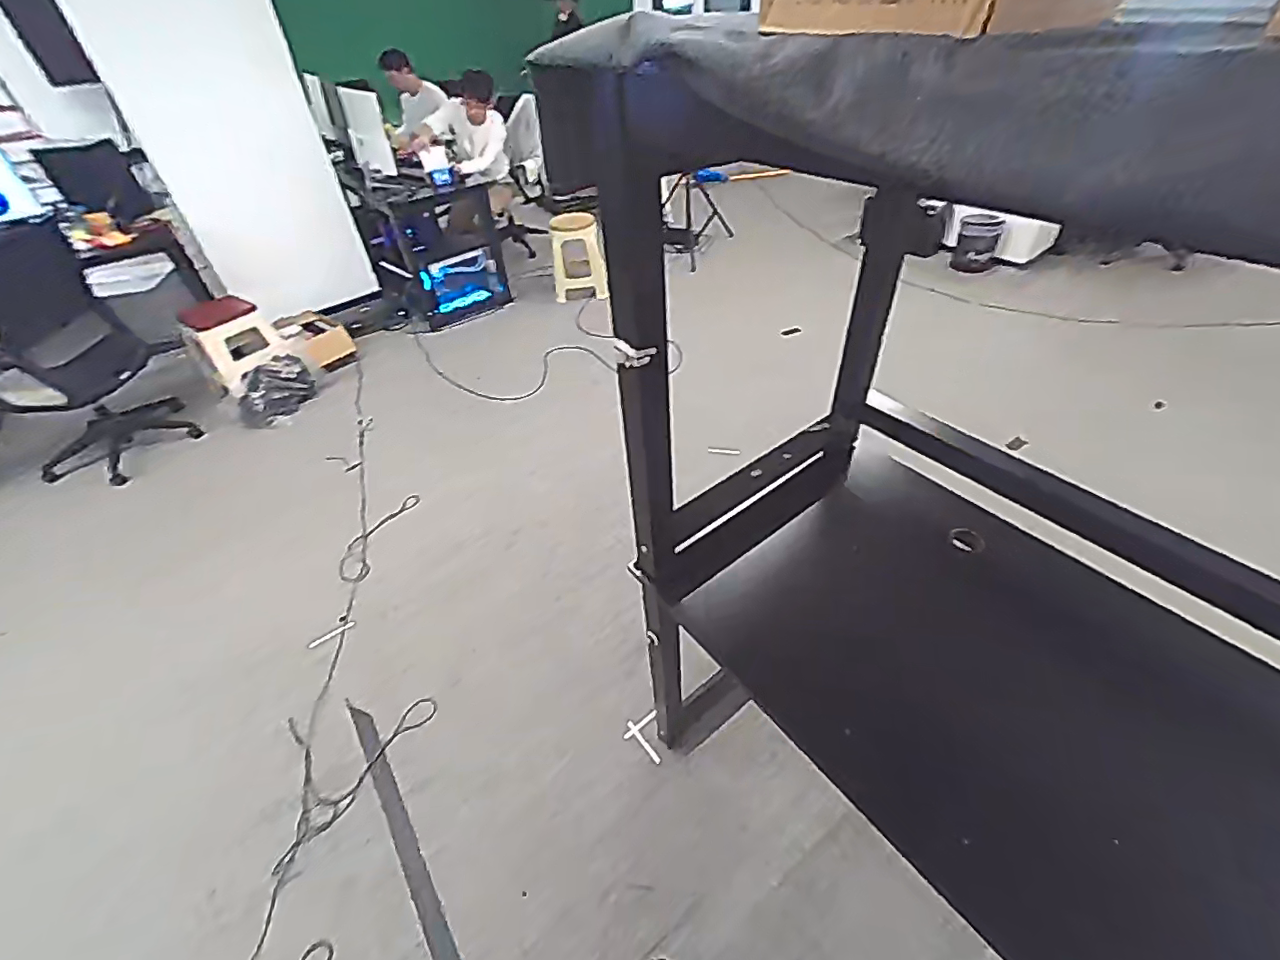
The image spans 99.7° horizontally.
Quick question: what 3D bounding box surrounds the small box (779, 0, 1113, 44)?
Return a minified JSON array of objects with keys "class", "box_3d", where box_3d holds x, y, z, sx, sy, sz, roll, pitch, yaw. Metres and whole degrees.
[{"class":"small box","box_3d":[0.203,-0.375,0.318,0.179,0.176,0.168,-29,48,-26]}]
